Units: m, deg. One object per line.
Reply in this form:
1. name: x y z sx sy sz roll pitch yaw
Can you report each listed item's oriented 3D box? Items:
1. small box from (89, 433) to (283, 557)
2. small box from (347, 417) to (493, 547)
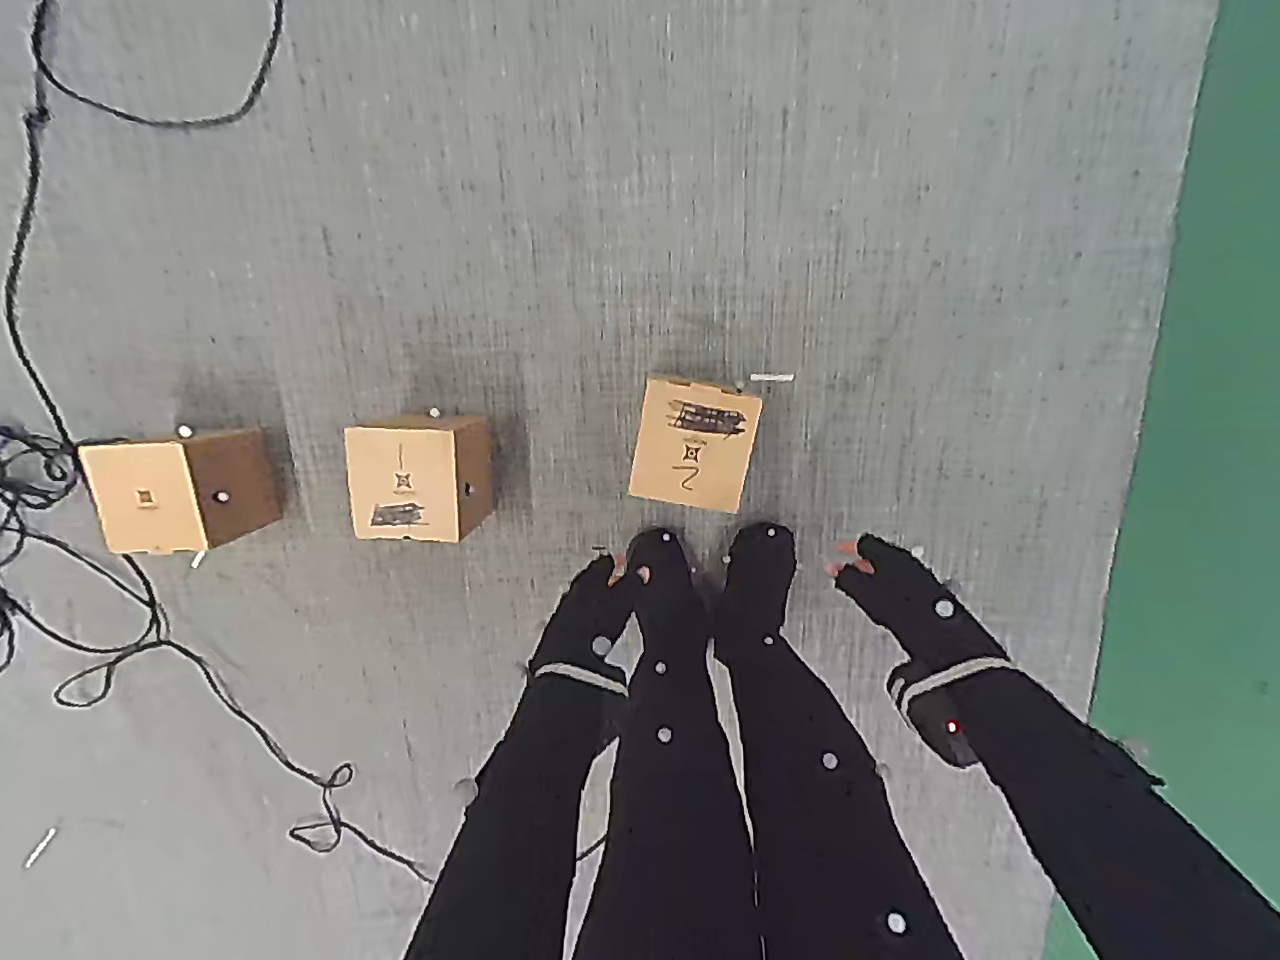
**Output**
1. small box: -0.749 0.017 0.913 0.168 0.176 0.179 -3 104 4
2. small box: -0.347 -0.004 0.887 0.168 0.176 0.179 2 103 3
